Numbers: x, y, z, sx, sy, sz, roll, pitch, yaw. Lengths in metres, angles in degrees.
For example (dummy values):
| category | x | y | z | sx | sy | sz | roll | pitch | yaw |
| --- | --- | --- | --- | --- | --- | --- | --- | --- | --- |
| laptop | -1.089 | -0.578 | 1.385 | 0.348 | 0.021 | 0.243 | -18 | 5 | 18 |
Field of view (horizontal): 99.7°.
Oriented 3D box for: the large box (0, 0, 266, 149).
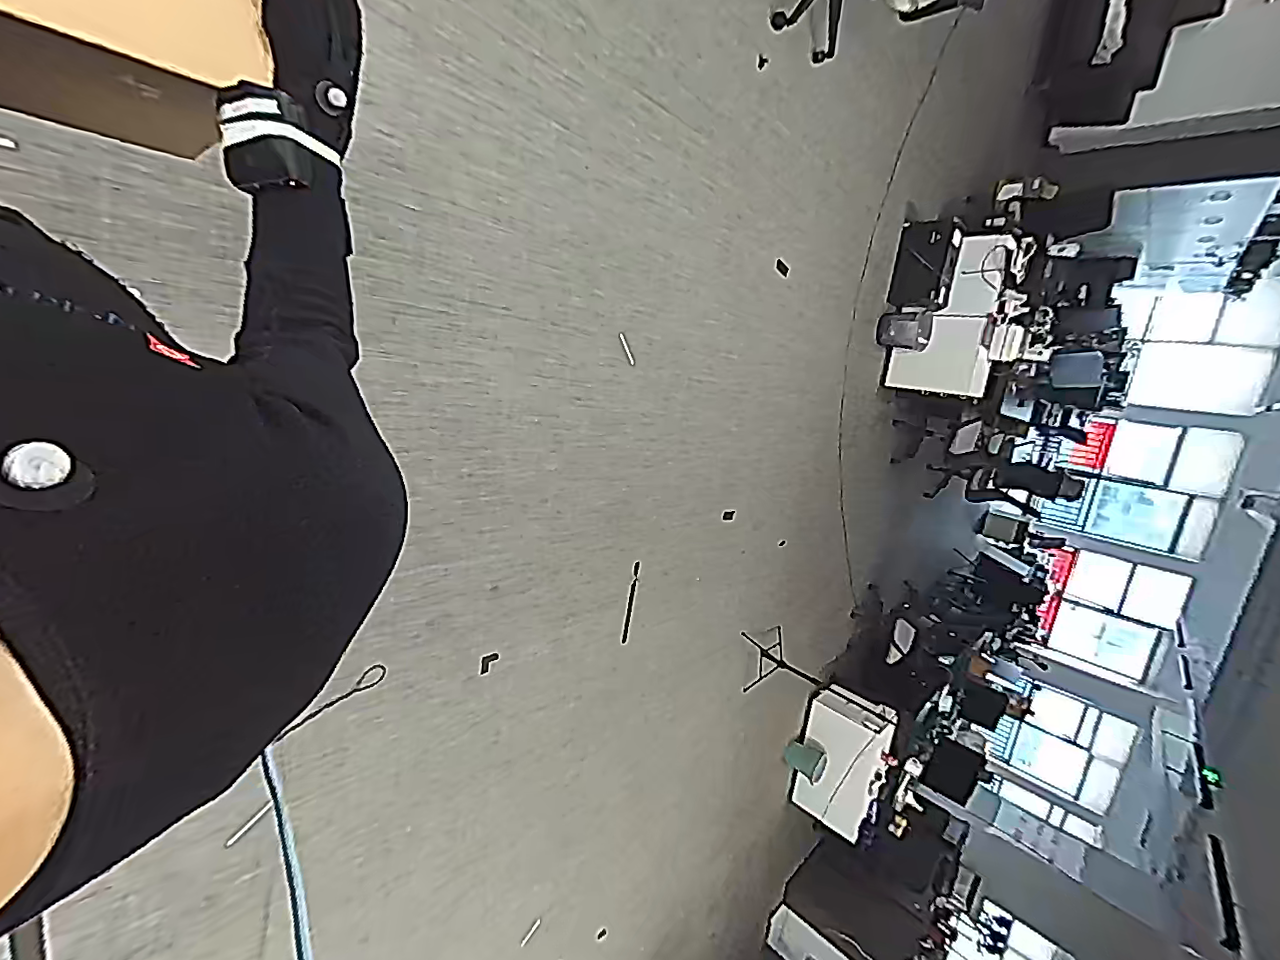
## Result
| category | x | y | z | sx | sy | sz | roll | pitch | yaw |
| --- | --- | --- | --- | --- | --- | --- | --- | --- | --- |
| large box | -0.521 | -0.460 | 0.338 | 0.408 | 0.320 | 0.320 | -9 | 112 | -48 |
